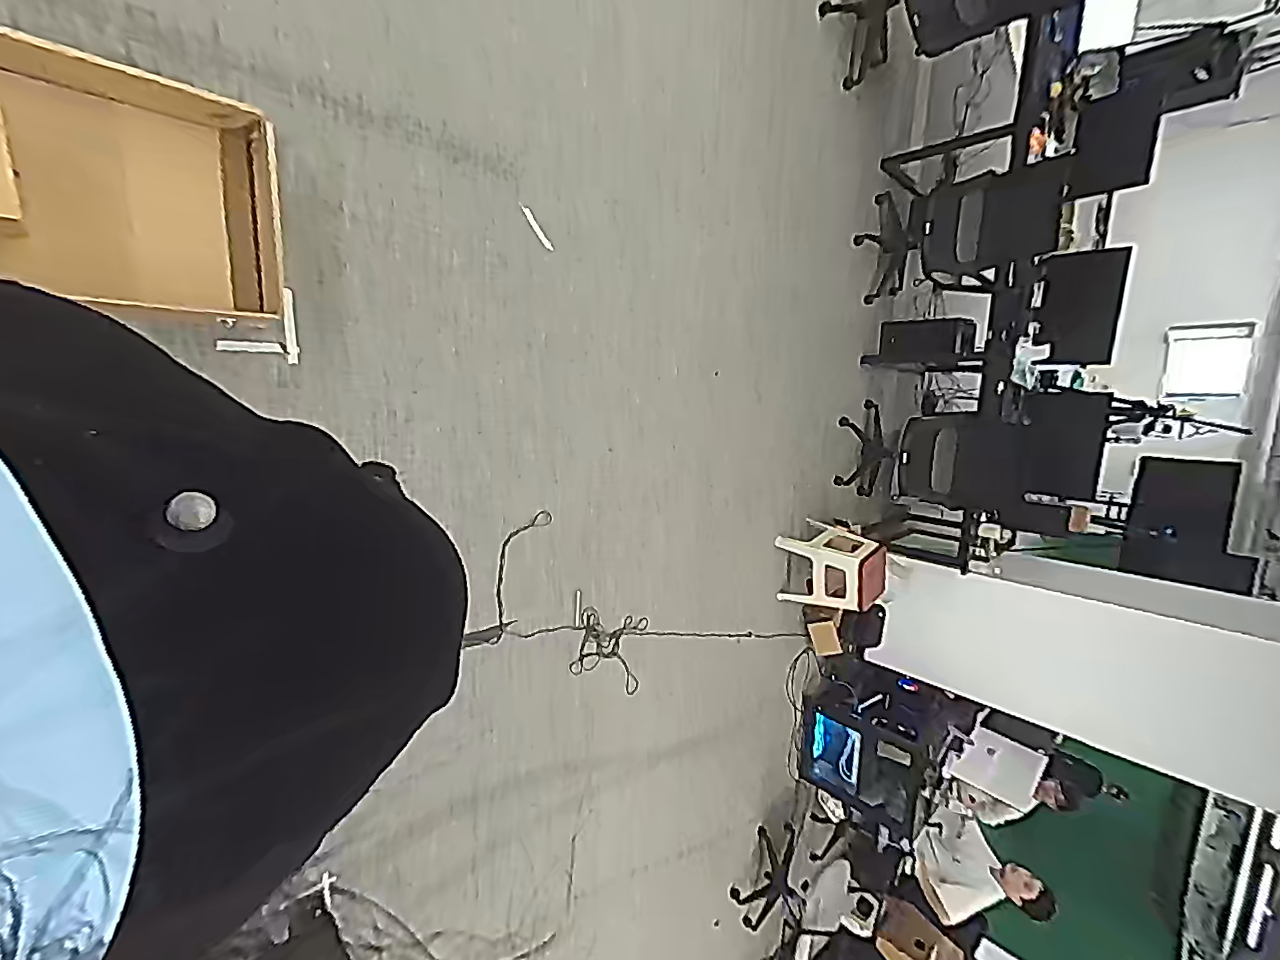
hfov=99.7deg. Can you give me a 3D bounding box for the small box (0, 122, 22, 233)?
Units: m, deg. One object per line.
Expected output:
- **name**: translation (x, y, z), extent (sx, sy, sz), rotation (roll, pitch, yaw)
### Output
- **small box**: translation (-1.082, -0.493, 0.822), extent (0.168, 0.176, 0.179), rotation (-10, 105, -45)
